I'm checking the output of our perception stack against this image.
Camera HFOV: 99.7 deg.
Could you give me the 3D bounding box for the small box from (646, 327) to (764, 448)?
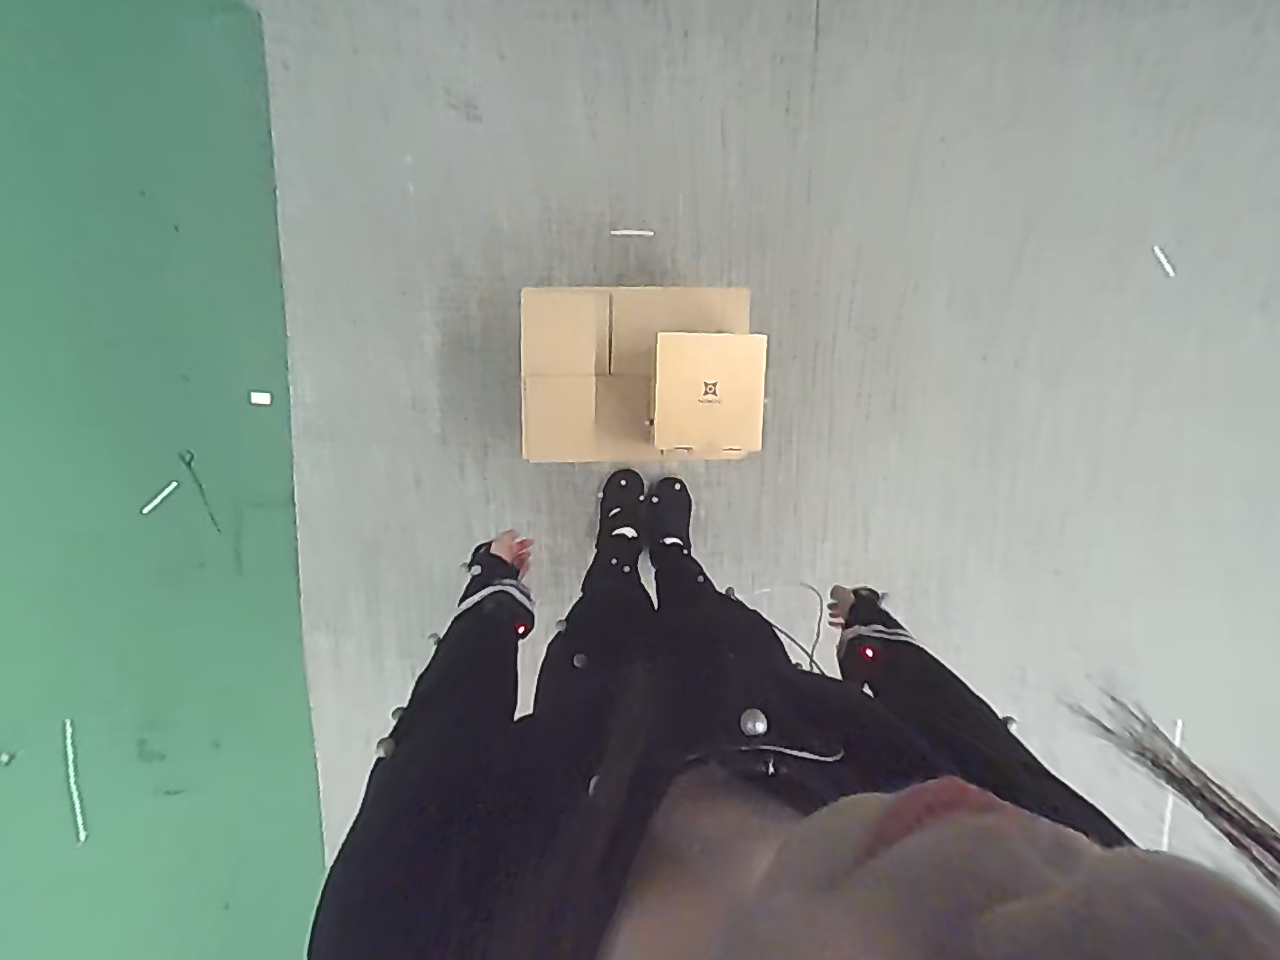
[{"bbox_3d":[0.097,-0.147,0.888,0.168,0.176,0.179,2,98,-2],"label":"small box"}]
